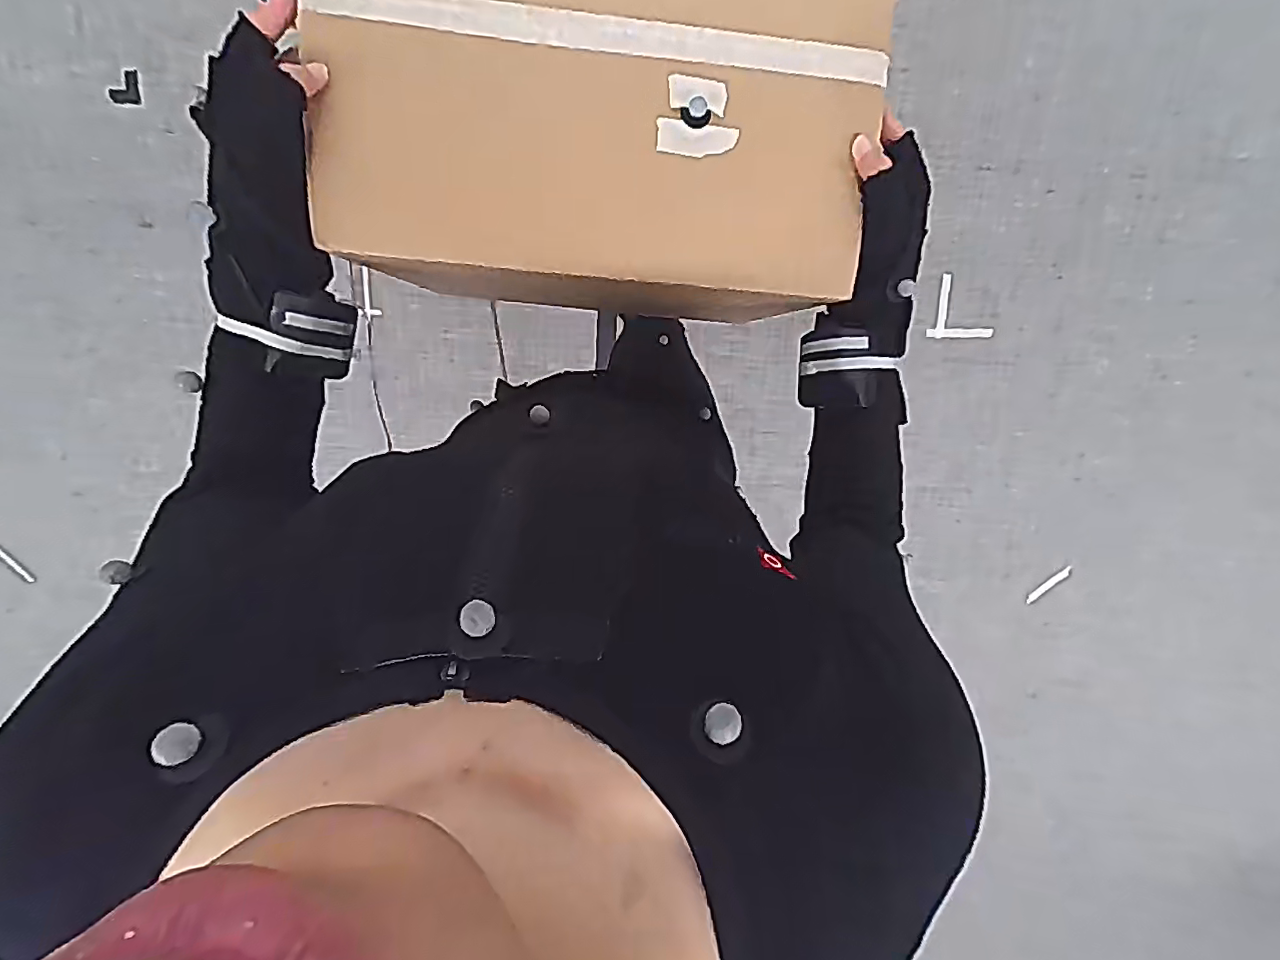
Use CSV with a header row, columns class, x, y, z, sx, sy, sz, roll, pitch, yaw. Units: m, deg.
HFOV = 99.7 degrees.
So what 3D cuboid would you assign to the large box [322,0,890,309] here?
class,x,y,z,sx,sy,sz,roll,pitch,yaw
large box,-0.031,-0.354,0.528,0.408,0.320,0.320,3,102,-5
